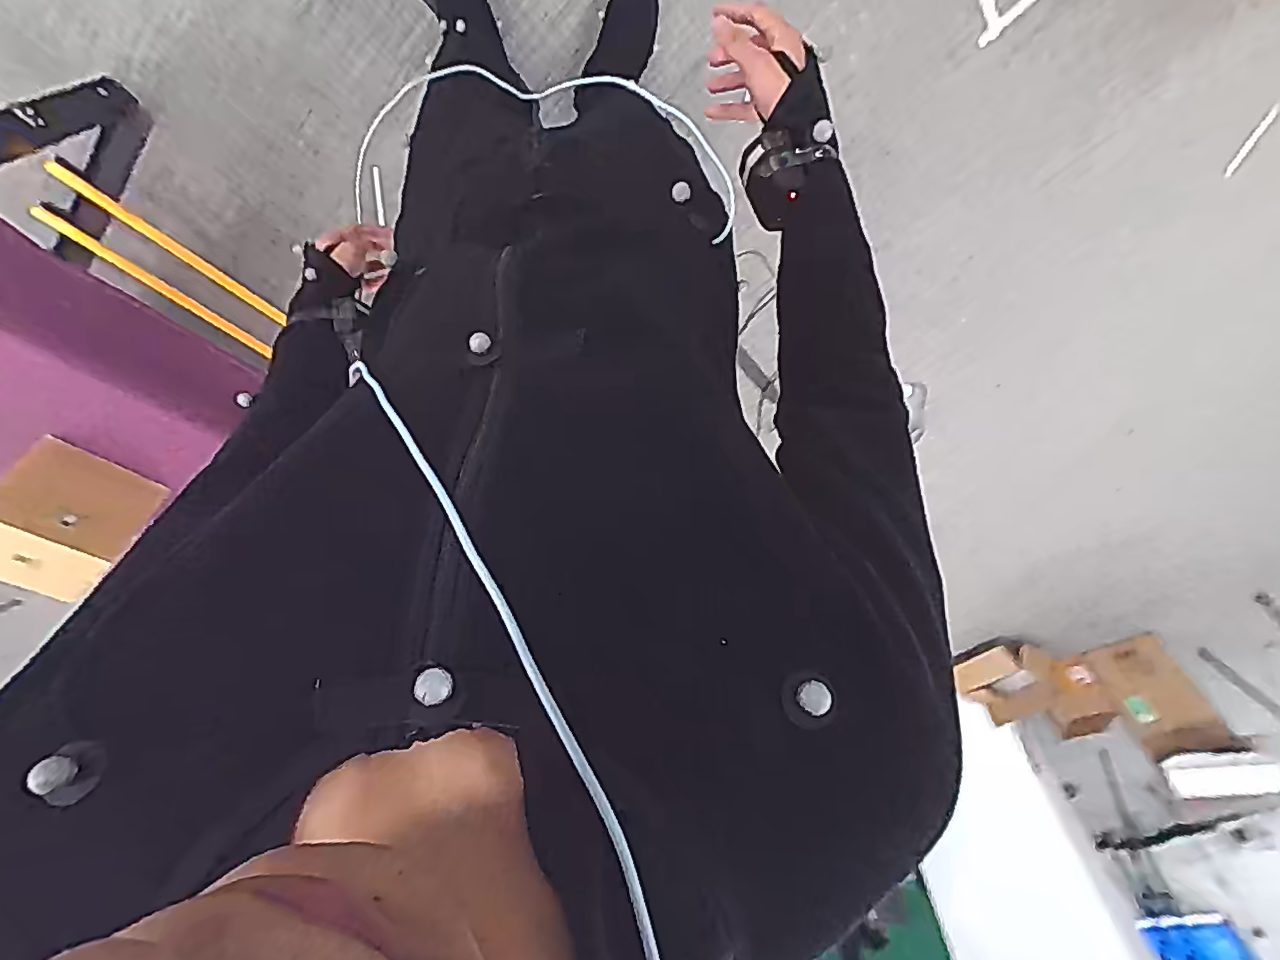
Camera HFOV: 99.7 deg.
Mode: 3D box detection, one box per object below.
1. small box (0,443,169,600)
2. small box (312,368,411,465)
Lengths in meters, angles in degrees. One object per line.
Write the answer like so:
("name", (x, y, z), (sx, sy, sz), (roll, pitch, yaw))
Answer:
("small box", (-0.942, 0.063, 0.885), (0.168, 0.176, 0.179), (-31, 131, 24))
("small box", (-0.779, -0.182, 1.530), (0.168, 0.176, 0.179), (-36, 127, 27))
